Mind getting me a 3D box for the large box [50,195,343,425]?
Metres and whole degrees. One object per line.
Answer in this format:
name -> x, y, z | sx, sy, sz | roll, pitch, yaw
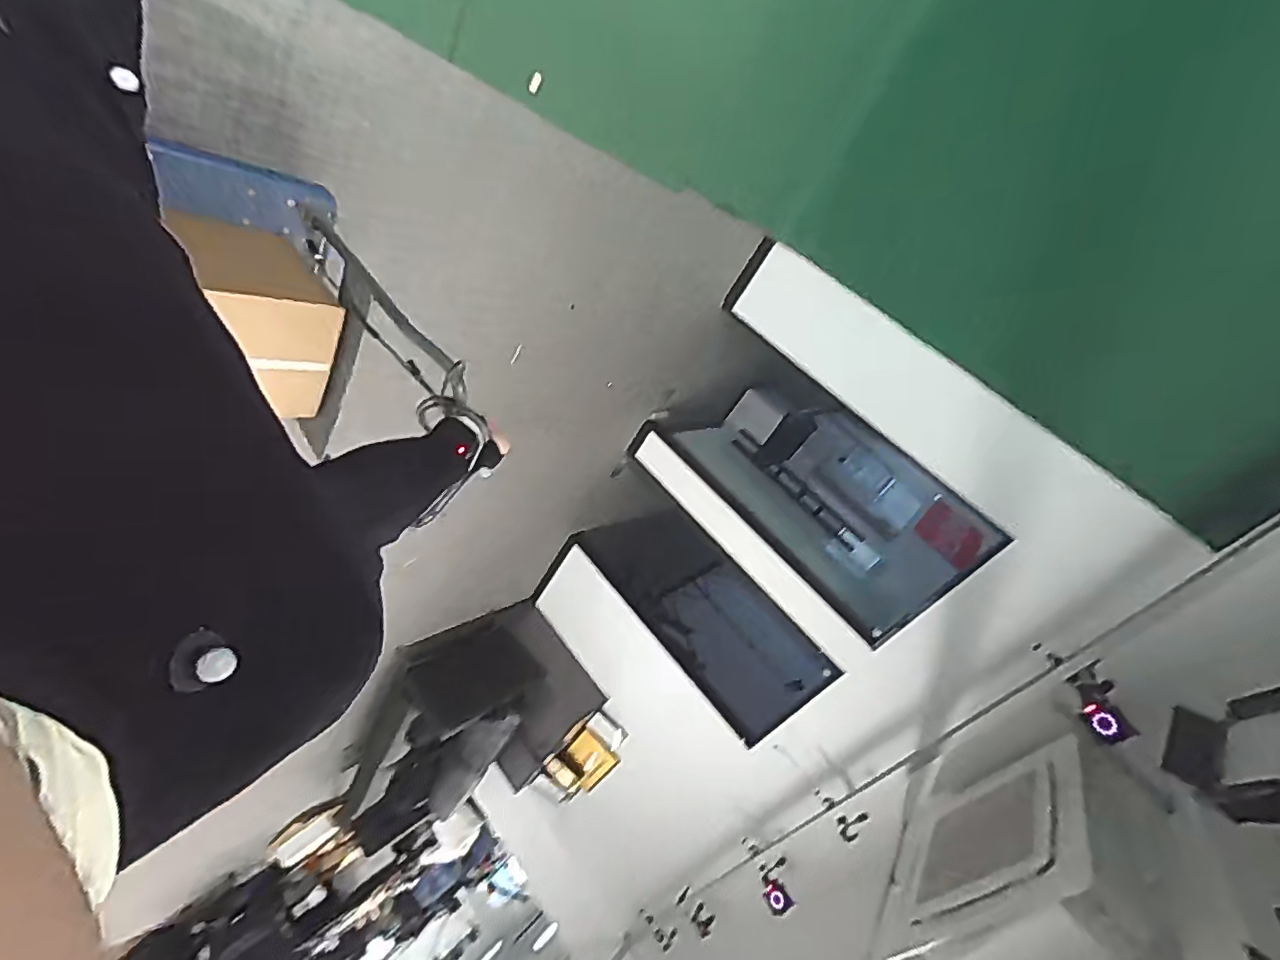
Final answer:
large box -> -0.940, -0.339, 1.161 | 0.408, 0.320, 0.320 | -11, 142, -54
